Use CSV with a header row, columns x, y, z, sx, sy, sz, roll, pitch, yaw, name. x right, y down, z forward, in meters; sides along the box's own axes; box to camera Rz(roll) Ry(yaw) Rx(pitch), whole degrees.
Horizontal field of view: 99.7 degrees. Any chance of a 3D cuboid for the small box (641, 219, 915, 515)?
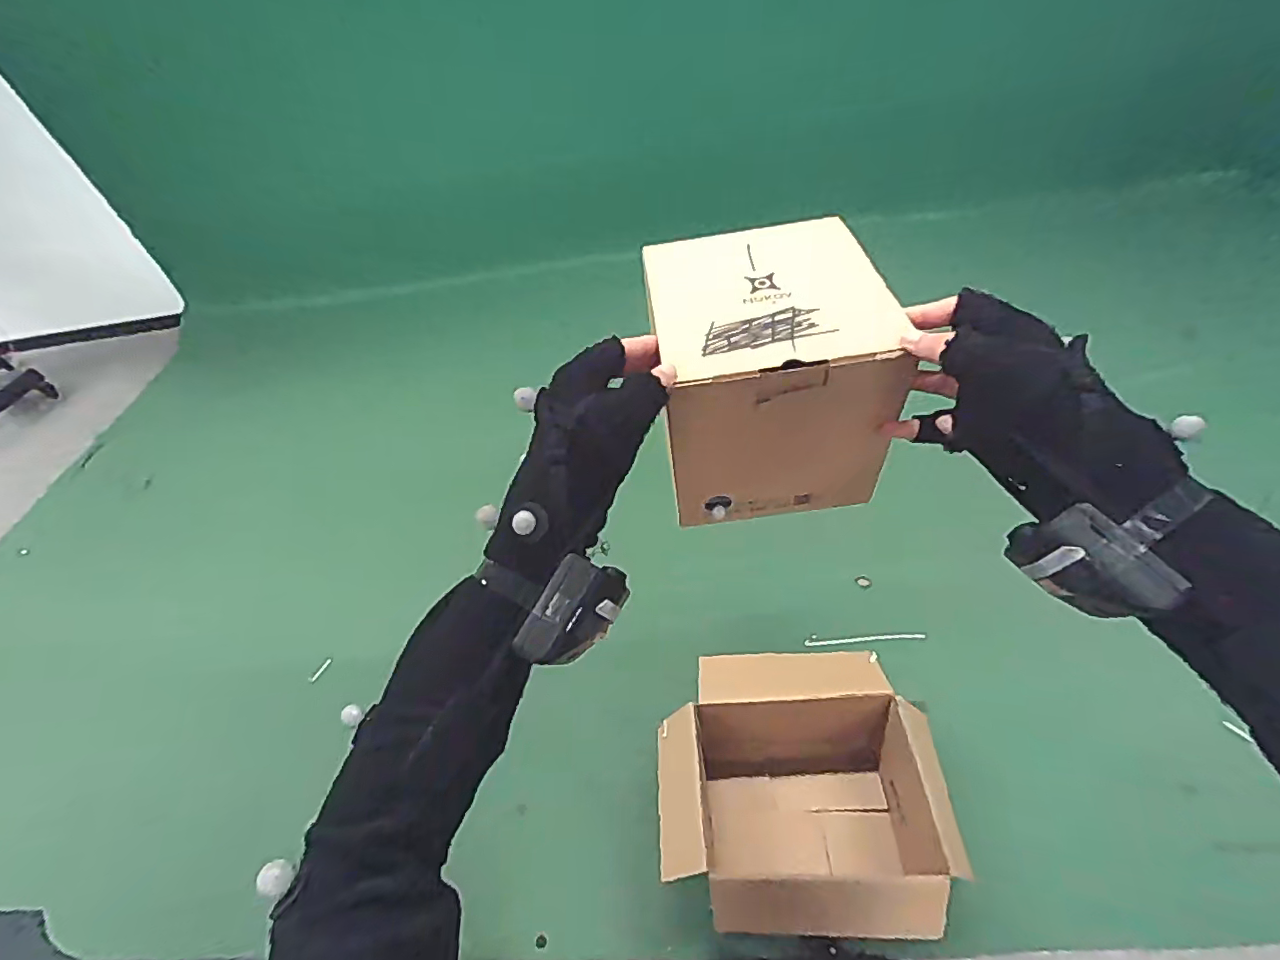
x,y,z,sx,sy,sz,roll,pitch,yaw,name
0.097,-0.084,0.454,0.168,0.176,0.179,-8,52,2,small box
